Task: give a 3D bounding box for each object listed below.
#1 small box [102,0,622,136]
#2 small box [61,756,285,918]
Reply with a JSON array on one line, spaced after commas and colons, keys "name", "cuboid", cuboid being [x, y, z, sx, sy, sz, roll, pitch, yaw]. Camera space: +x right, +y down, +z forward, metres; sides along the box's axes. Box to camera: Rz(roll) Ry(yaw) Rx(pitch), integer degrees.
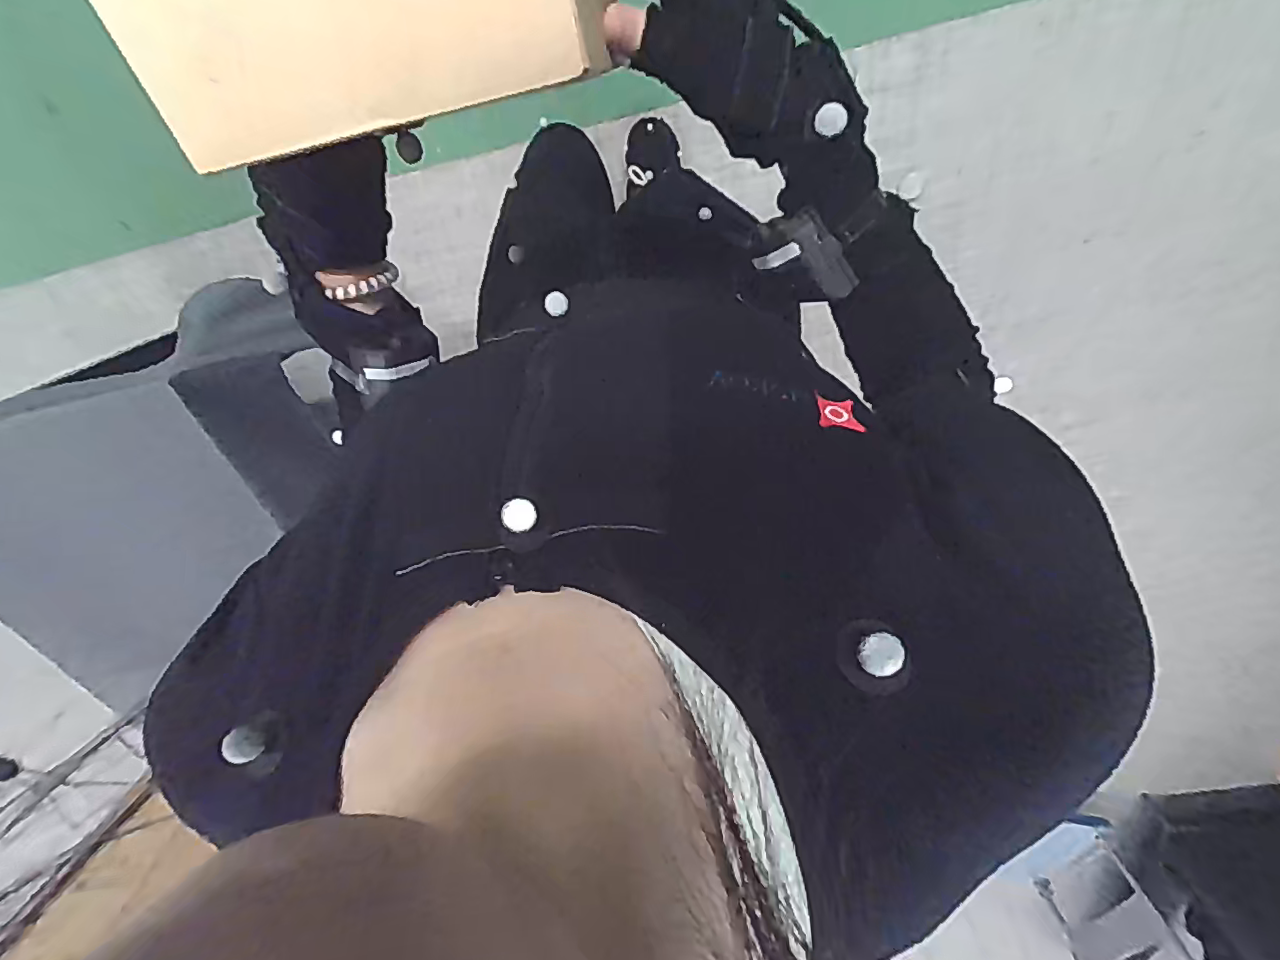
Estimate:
[{"name": "small box", "cuboid": [-0.114, -0.262, 0.223, 0.179, 0.176, 0.168, -7, 129, 10]}, {"name": "small box", "cuboid": [-0.735, 0.570, 0.877, 0.168, 0.176, 0.179, -12, 122, 9]}]
